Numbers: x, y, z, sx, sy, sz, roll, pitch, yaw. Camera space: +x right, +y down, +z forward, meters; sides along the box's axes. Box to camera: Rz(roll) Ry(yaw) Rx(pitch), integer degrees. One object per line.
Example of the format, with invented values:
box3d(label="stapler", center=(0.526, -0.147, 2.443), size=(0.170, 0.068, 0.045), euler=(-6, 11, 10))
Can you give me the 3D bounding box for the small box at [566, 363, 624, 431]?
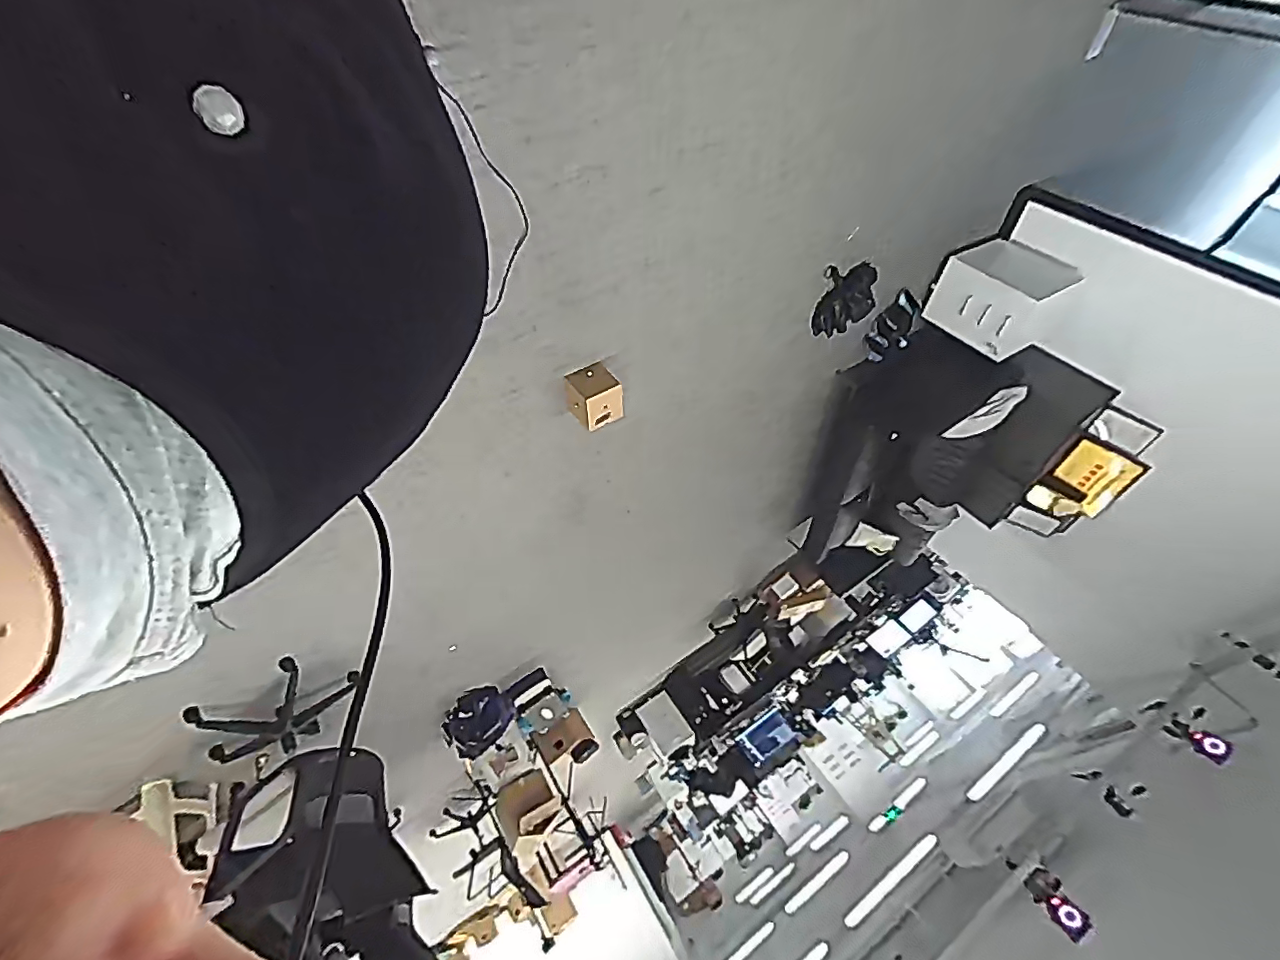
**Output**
box3d(label="small box", center=(-0.180, -0.334, 2.167), size=(0.168, 0.176, 0.179), euler=(-29, 145, -21))
